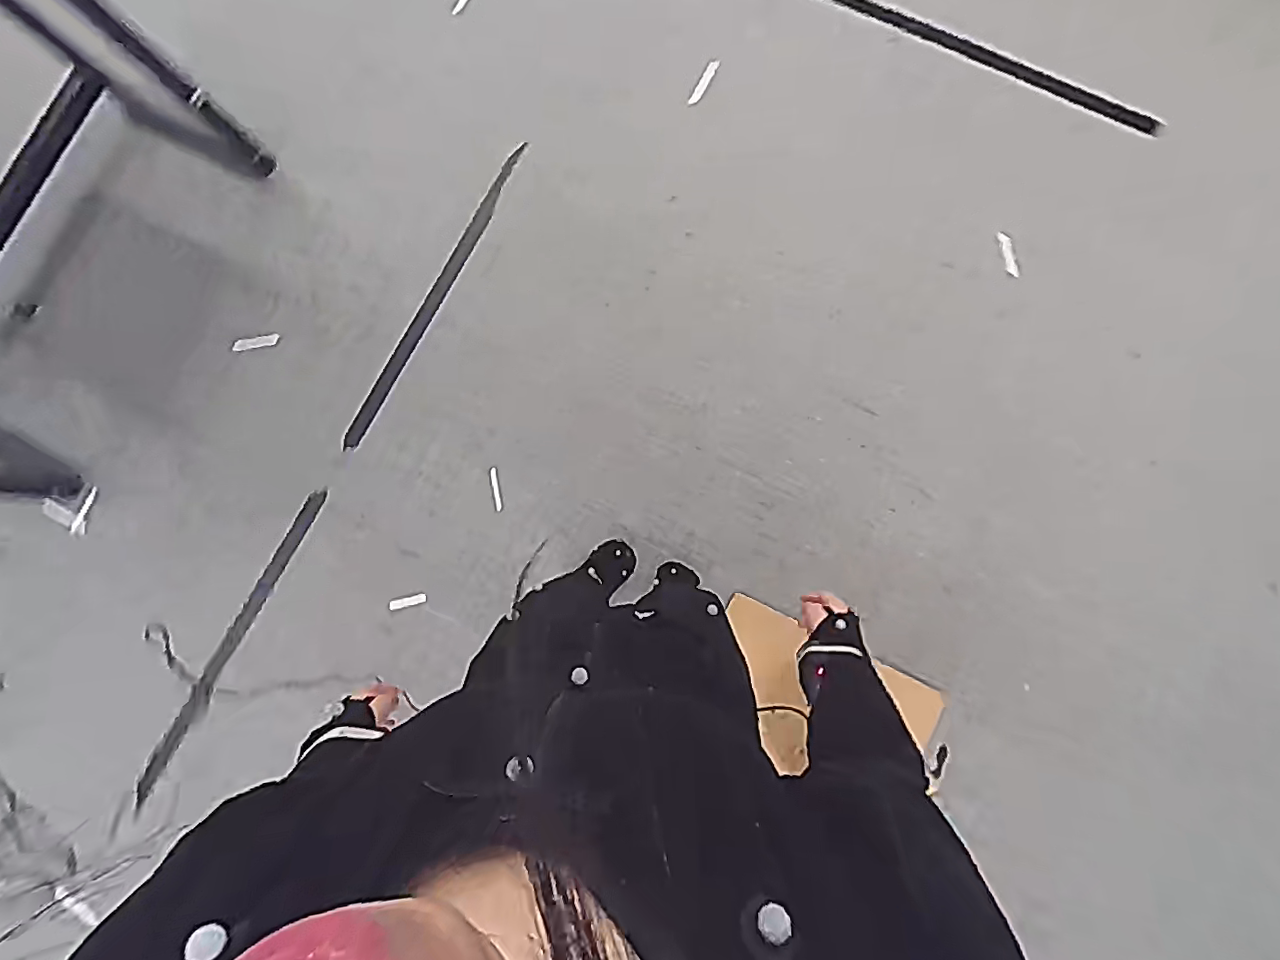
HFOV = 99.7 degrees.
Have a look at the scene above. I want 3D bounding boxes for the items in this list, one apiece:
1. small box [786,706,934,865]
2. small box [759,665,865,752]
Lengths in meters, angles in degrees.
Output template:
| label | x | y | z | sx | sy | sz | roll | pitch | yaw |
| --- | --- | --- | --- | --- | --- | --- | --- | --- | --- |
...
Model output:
| label | x | y | z | sx | sy | sz | roll | pitch | yaw |
| --- | --- | --- | --- | --- | --- | --- | --- | --- | --- |
| small box | 0.401 | 0.557 | 1.016 | 0.179 | 0.176 | 0.168 | 28 | 87 | 6 |
| small box | 0.416 | 0.582 | 1.344 | 0.179 | 0.176 | 0.168 | 30 | 88 | 5 |
